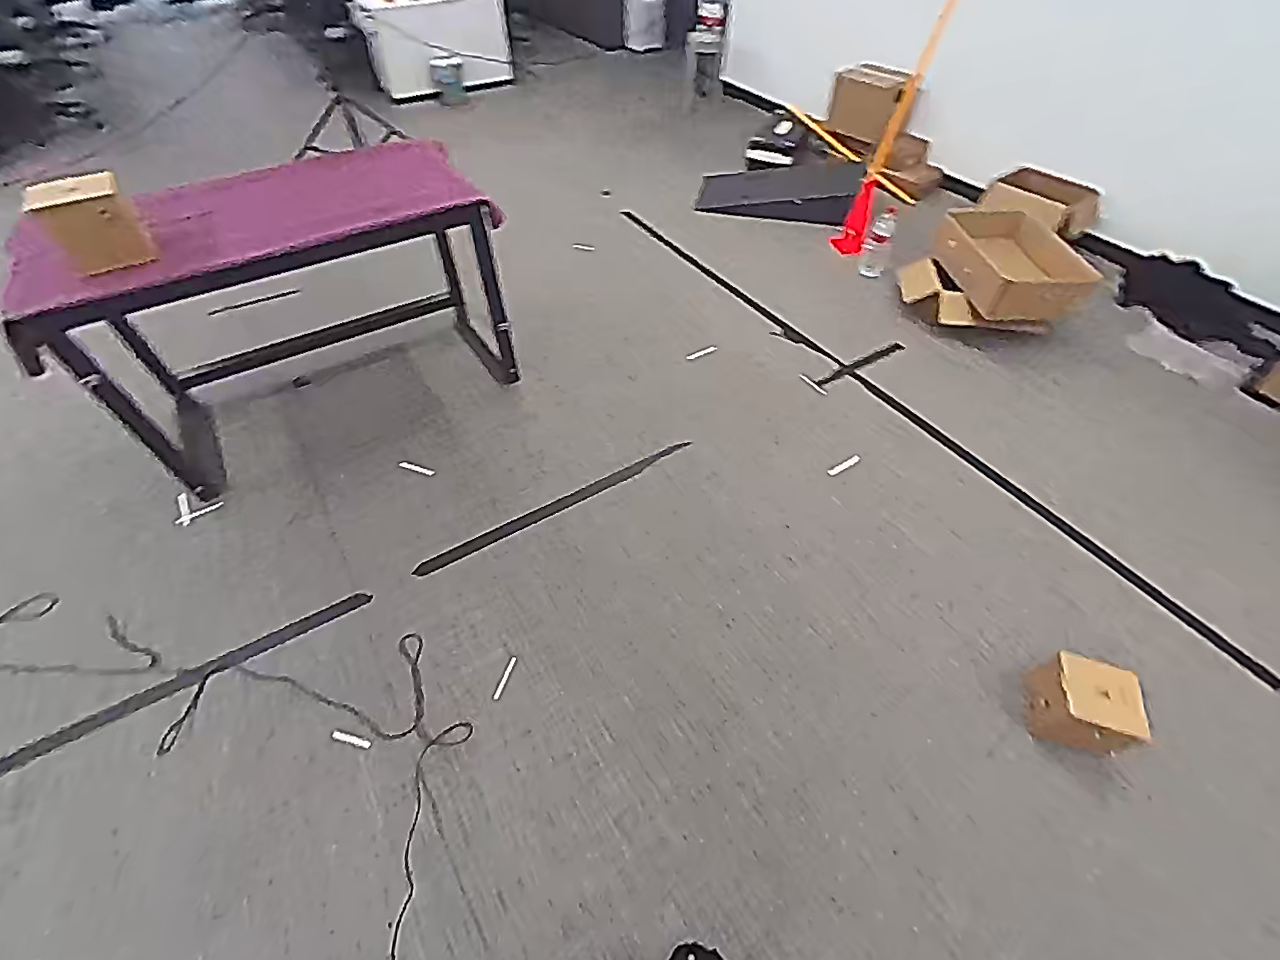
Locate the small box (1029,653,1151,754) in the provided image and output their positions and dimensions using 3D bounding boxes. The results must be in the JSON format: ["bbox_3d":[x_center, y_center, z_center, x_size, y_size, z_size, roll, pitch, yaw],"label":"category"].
[{"bbox_3d":[1.121,0.570,1.369,0.179,0.176,0.168,16,53,11],"label":"small box"}]

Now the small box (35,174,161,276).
[{"bbox_3d":[-1.376,-0.653,1.387,0.179,0.176,0.168,-29,55,-22],"label":"small box"}]
